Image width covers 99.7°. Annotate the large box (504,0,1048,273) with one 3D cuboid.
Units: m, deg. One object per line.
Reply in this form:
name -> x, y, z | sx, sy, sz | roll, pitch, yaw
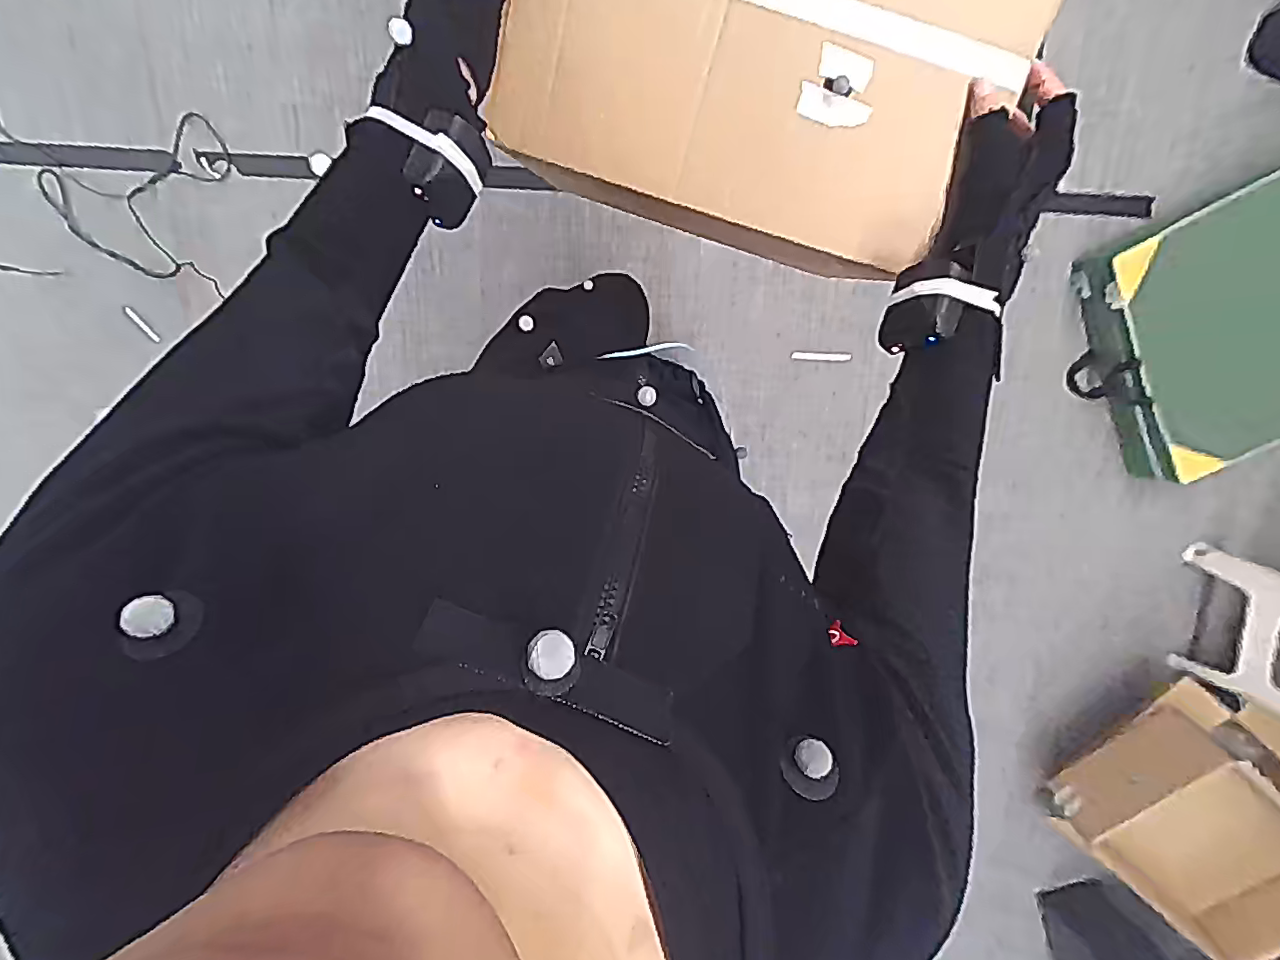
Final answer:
large box -> 0.113, -0.430, 0.566 | 0.408, 0.320, 0.320 | 16, 112, -4
